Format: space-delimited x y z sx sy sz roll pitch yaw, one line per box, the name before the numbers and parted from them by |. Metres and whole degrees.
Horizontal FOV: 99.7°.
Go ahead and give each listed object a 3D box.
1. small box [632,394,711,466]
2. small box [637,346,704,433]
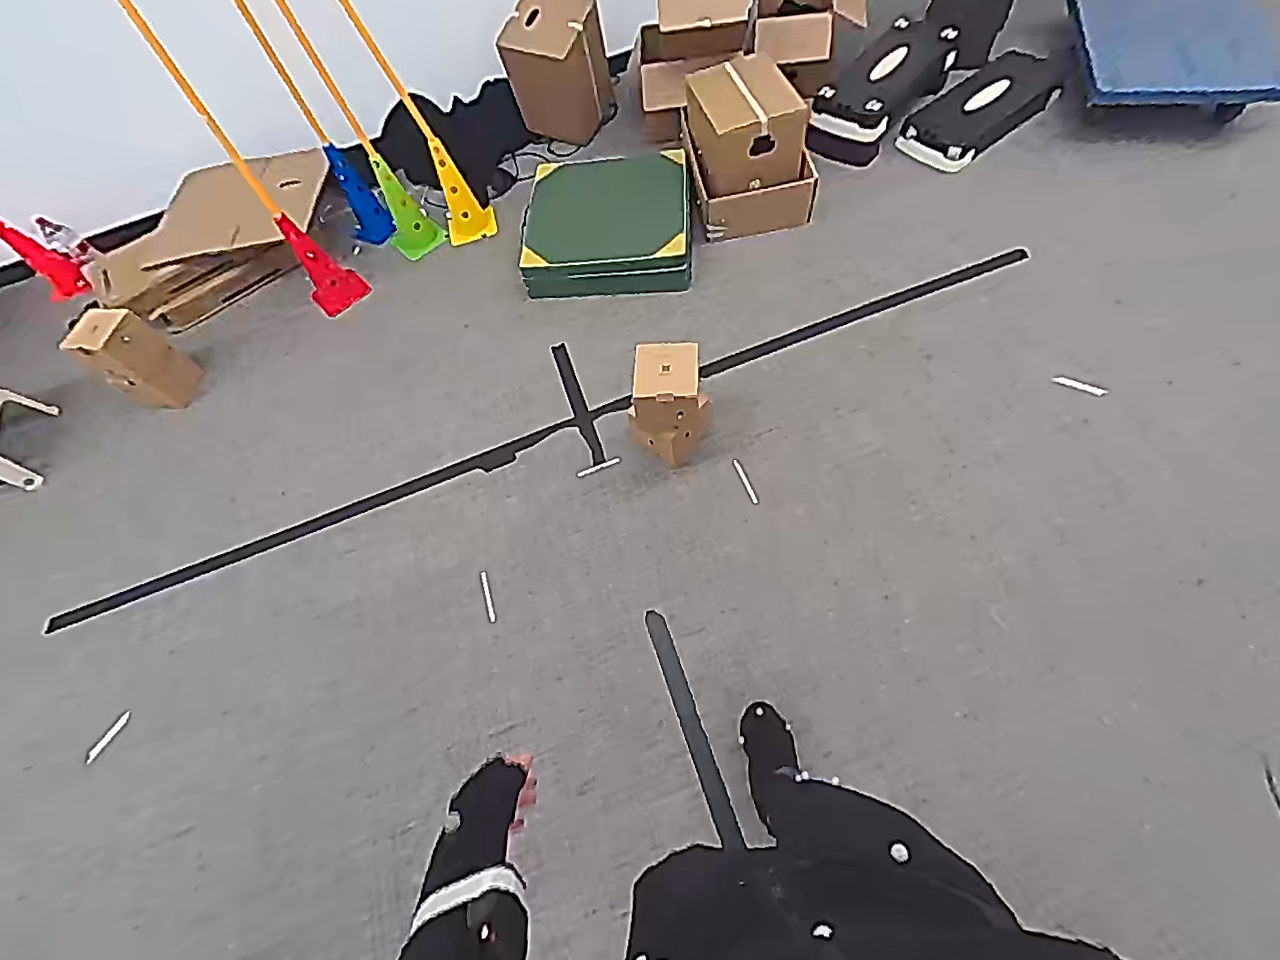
small box | 0.102 -0.171 1.610 0.168 0.176 0.179 32 71 23
small box | 0.088 -0.238 1.459 0.168 0.176 0.179 0 62 7
